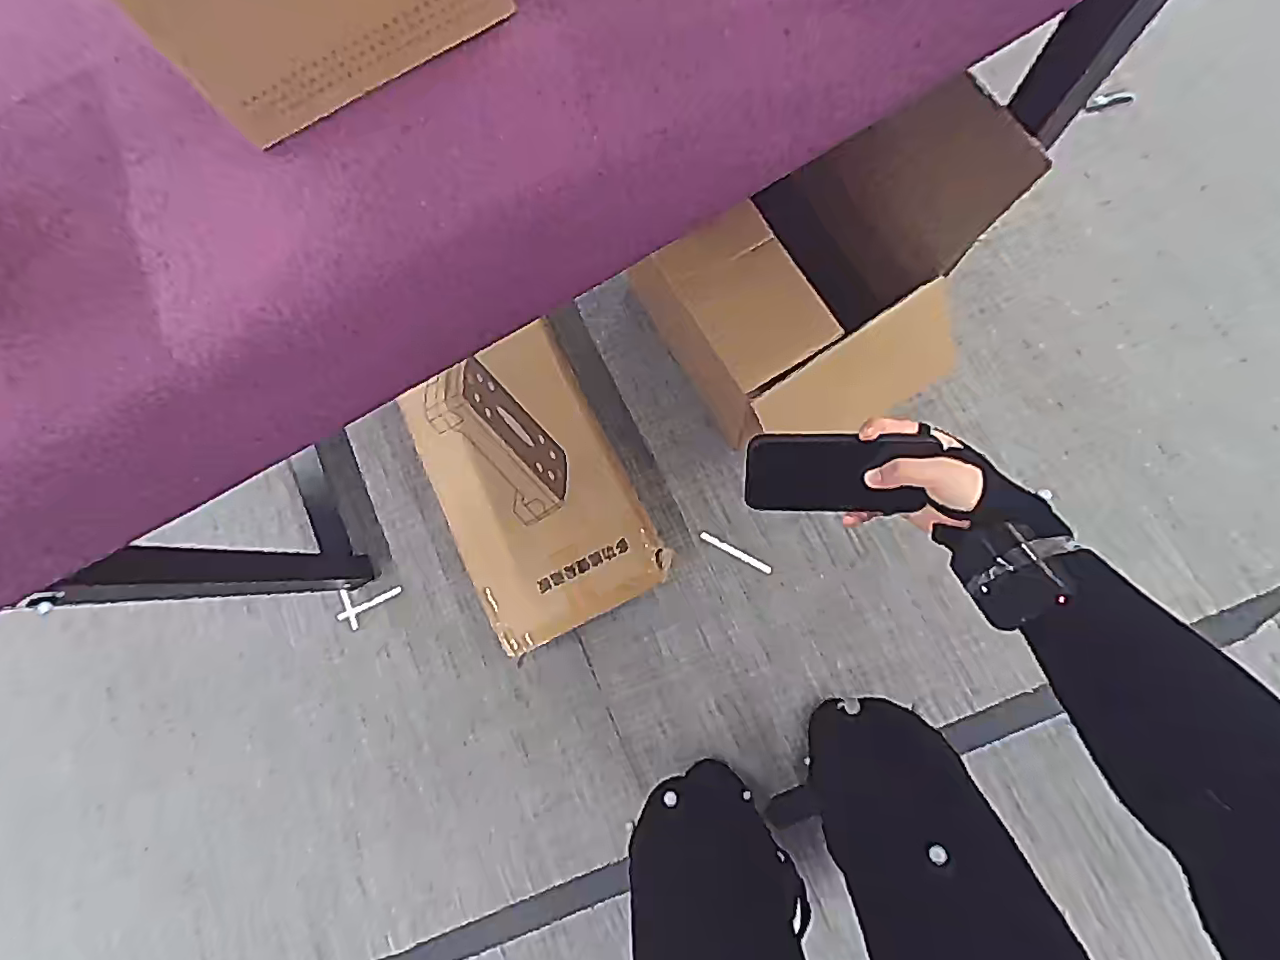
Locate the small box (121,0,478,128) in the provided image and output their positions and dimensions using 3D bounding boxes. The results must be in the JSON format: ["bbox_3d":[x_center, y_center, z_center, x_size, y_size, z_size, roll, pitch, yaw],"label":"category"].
[{"bbox_3d":[-0.192,-0.324,0.255,0.179,0.176,0.168,-27,76,2],"label":"small box"}]
